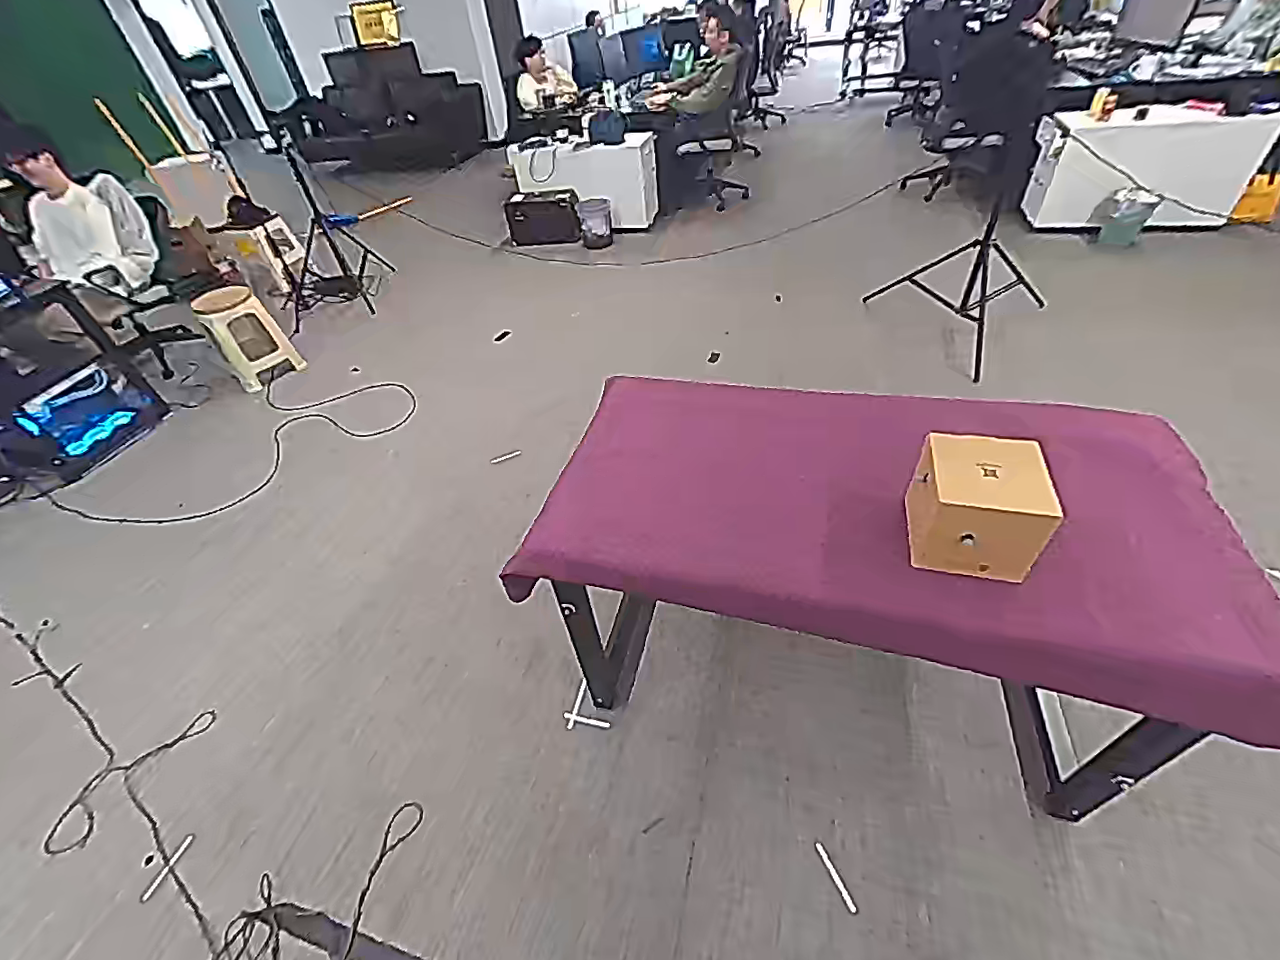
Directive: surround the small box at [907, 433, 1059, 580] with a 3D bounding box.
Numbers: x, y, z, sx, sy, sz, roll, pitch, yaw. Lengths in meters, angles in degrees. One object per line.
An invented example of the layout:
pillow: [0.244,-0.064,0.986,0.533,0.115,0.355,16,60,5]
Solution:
small box: [0.561,0.045,0.912,0.168,0.176,0.179,7,44,15]
